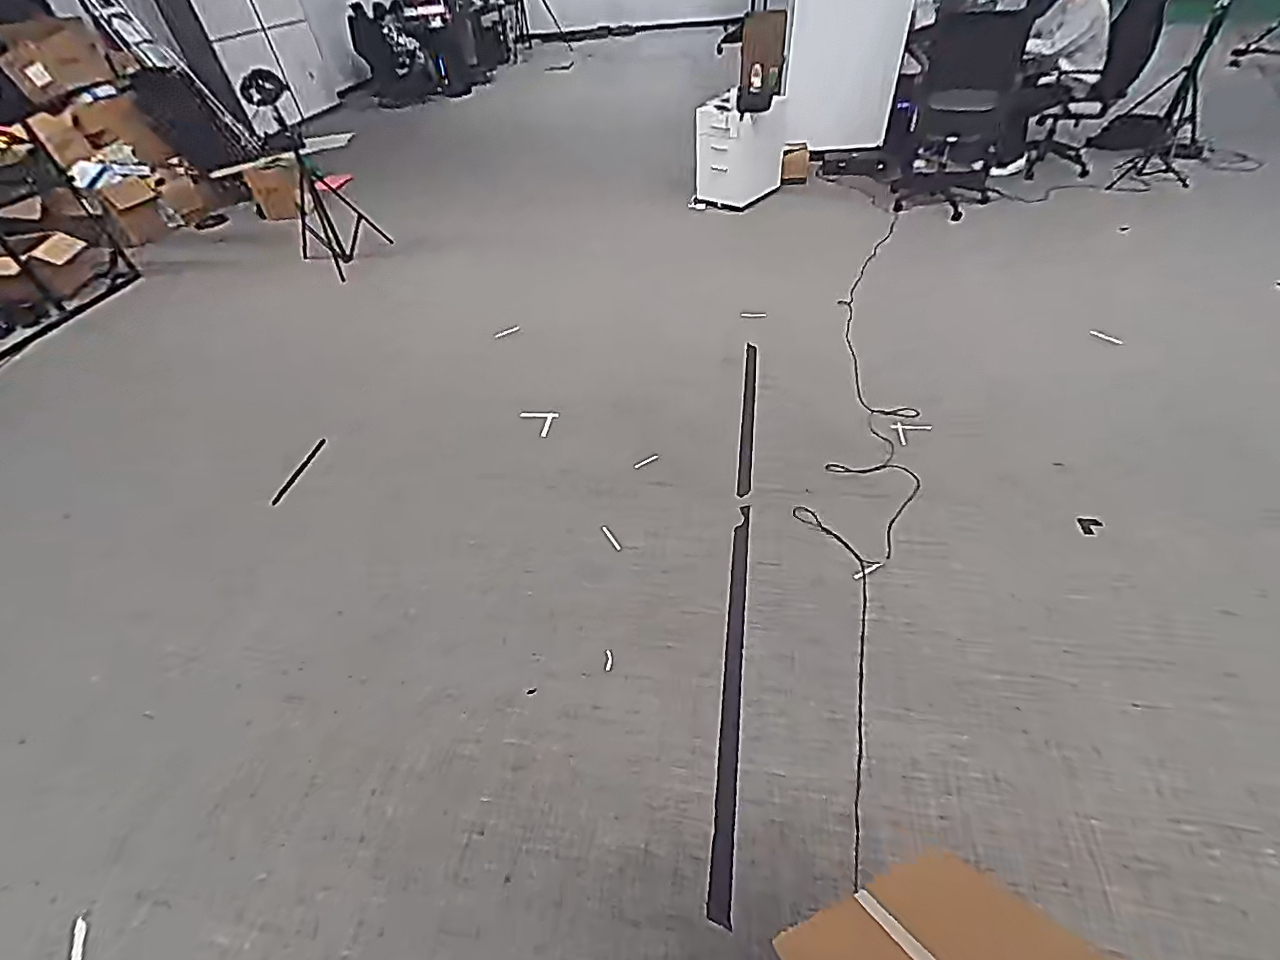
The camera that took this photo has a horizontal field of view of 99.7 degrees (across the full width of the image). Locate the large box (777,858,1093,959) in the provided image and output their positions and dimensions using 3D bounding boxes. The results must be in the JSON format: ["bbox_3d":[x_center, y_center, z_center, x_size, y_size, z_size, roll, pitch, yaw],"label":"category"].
[{"bbox_3d":[0.420,0.748,0.627,0.320,0.408,0.320,-19,81,-11],"label":"large box"}]
